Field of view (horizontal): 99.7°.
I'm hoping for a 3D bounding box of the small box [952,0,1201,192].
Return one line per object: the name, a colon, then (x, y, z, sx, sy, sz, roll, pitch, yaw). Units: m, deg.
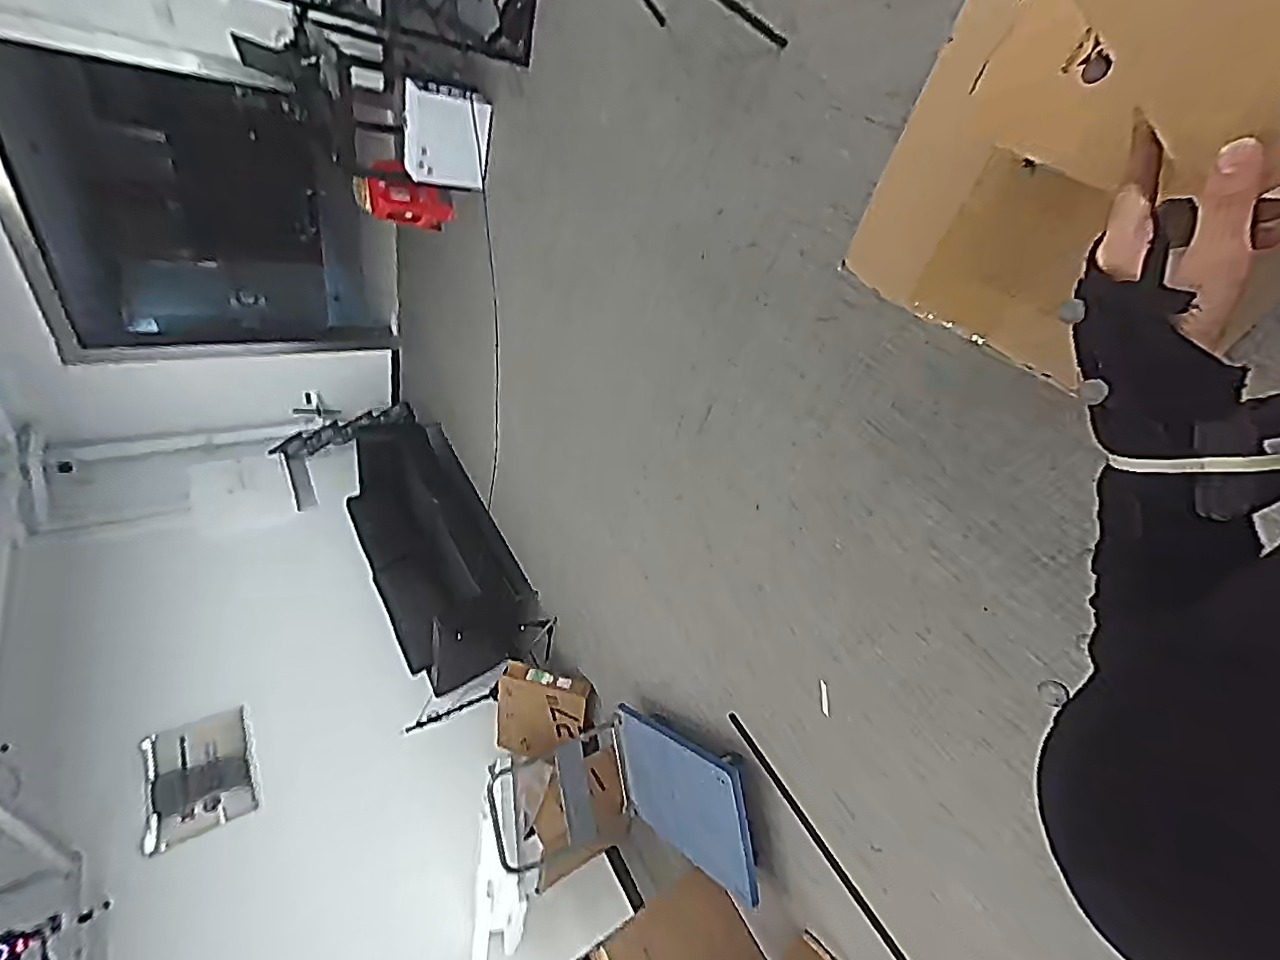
small box: (0.442, -0.377, 0.488, 0.179, 0.176, 0.168, 51, 139, 34)
